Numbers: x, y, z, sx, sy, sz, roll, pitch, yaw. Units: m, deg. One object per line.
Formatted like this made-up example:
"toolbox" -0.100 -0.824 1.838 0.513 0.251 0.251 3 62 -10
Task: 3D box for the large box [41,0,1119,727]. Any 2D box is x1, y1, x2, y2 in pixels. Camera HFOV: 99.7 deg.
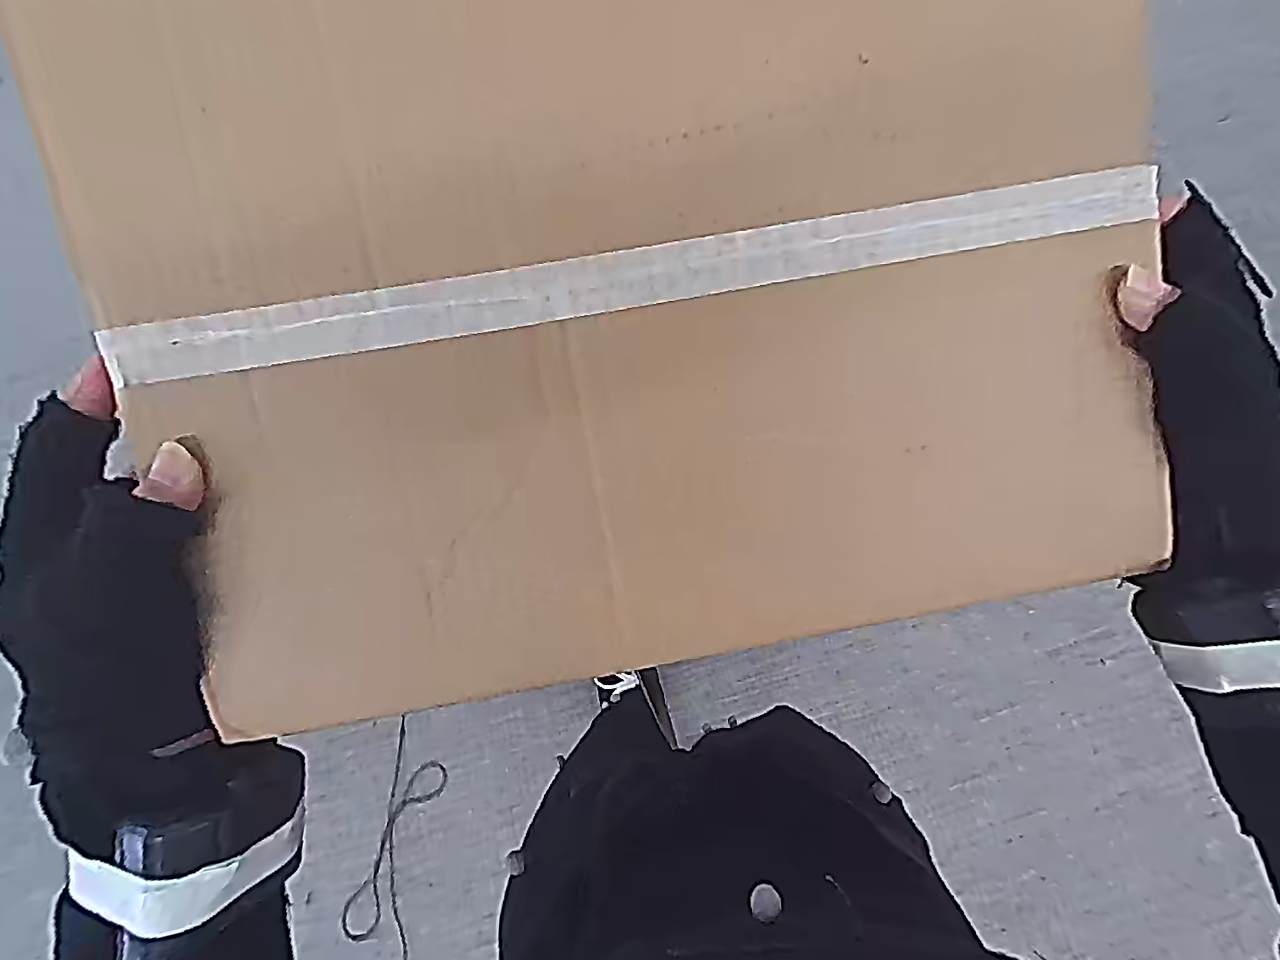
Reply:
"large box" -0.005 -0.098 0.368 0.408 0.320 0.320 -10 97 -3
